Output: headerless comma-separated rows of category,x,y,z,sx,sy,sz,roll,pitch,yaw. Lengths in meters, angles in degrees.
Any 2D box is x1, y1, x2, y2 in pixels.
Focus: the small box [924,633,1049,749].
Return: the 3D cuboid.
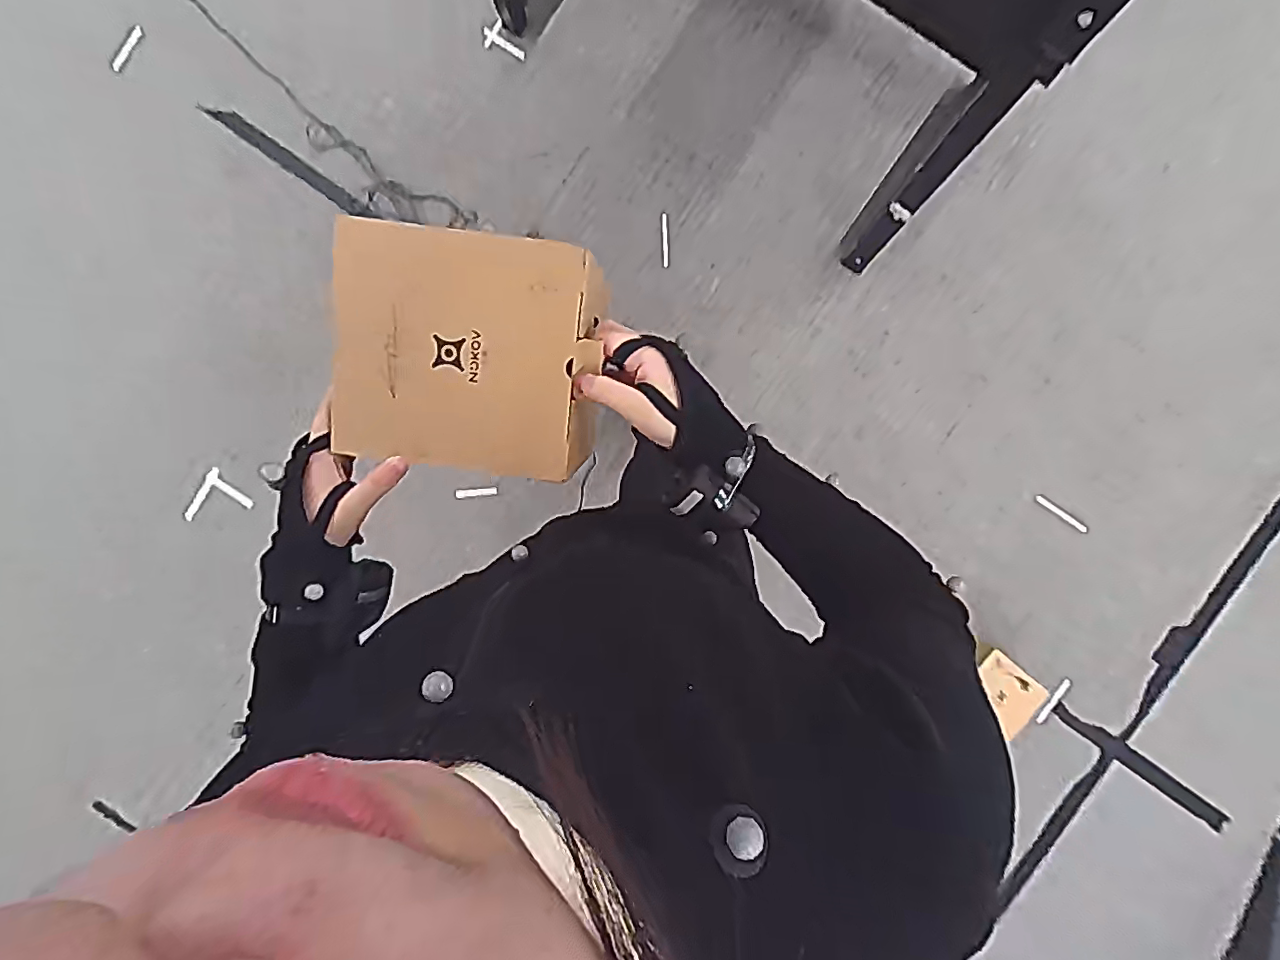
small box,0.843,0.515,1.345,0.168,0.176,0.179,40,94,2
